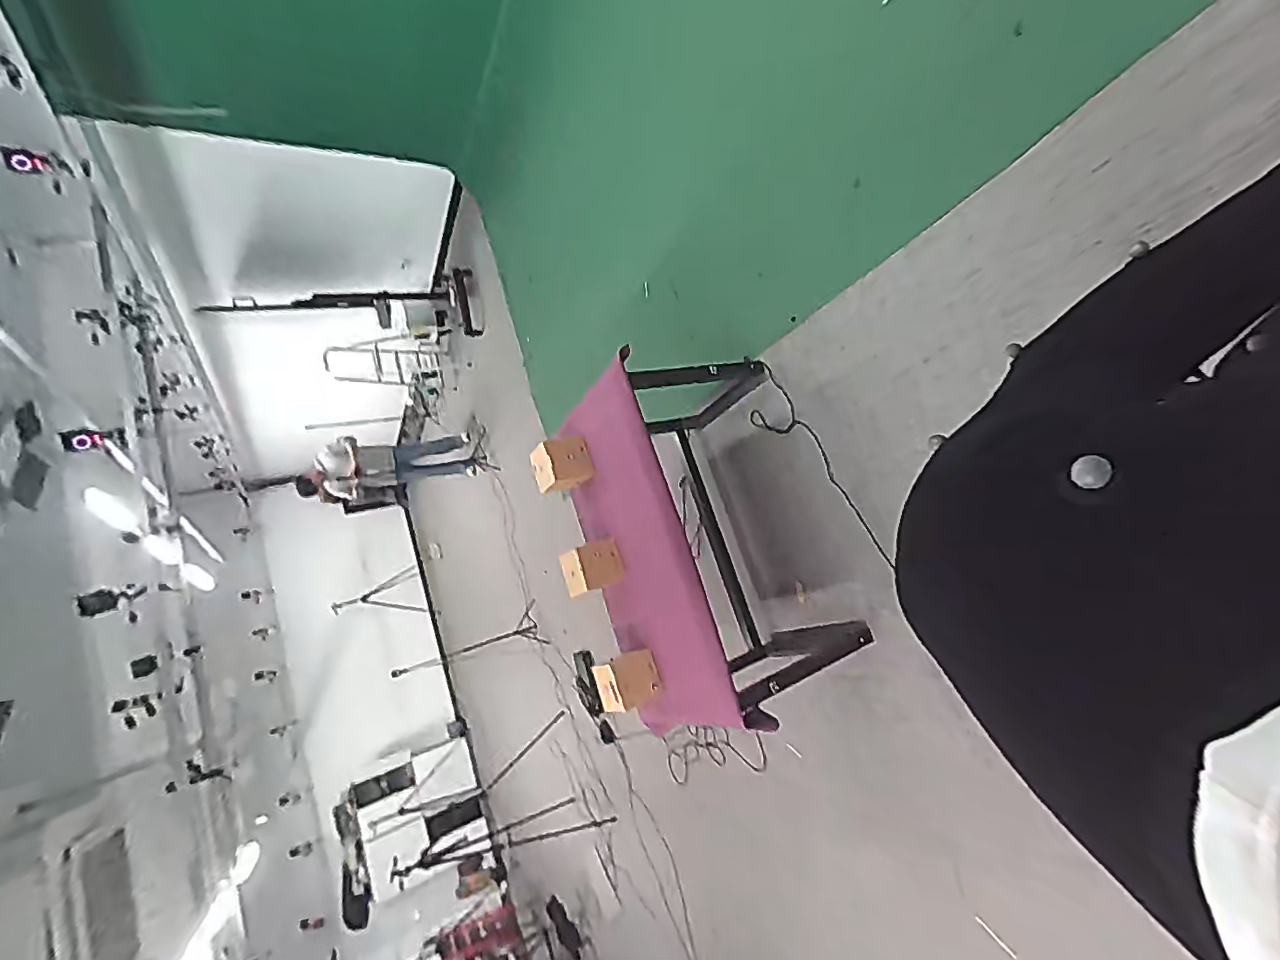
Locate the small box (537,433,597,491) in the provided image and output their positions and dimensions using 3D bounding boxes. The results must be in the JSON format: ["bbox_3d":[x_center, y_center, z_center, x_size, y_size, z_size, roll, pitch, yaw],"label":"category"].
[{"bbox_3d":[-0.282,-0.072,2.120,0.179,0.176,0.168,-33,72,56],"label":"small box"}]

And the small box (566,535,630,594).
[{"bbox_3d":[-0.156,0.319,2.054,0.179,0.176,0.168,-36,69,57],"label":"small box"}]

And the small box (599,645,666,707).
[{"bbox_3d":[-0.021,0.711,1.967,0.179,0.176,0.168,-39,67,56],"label":"small box"}]
